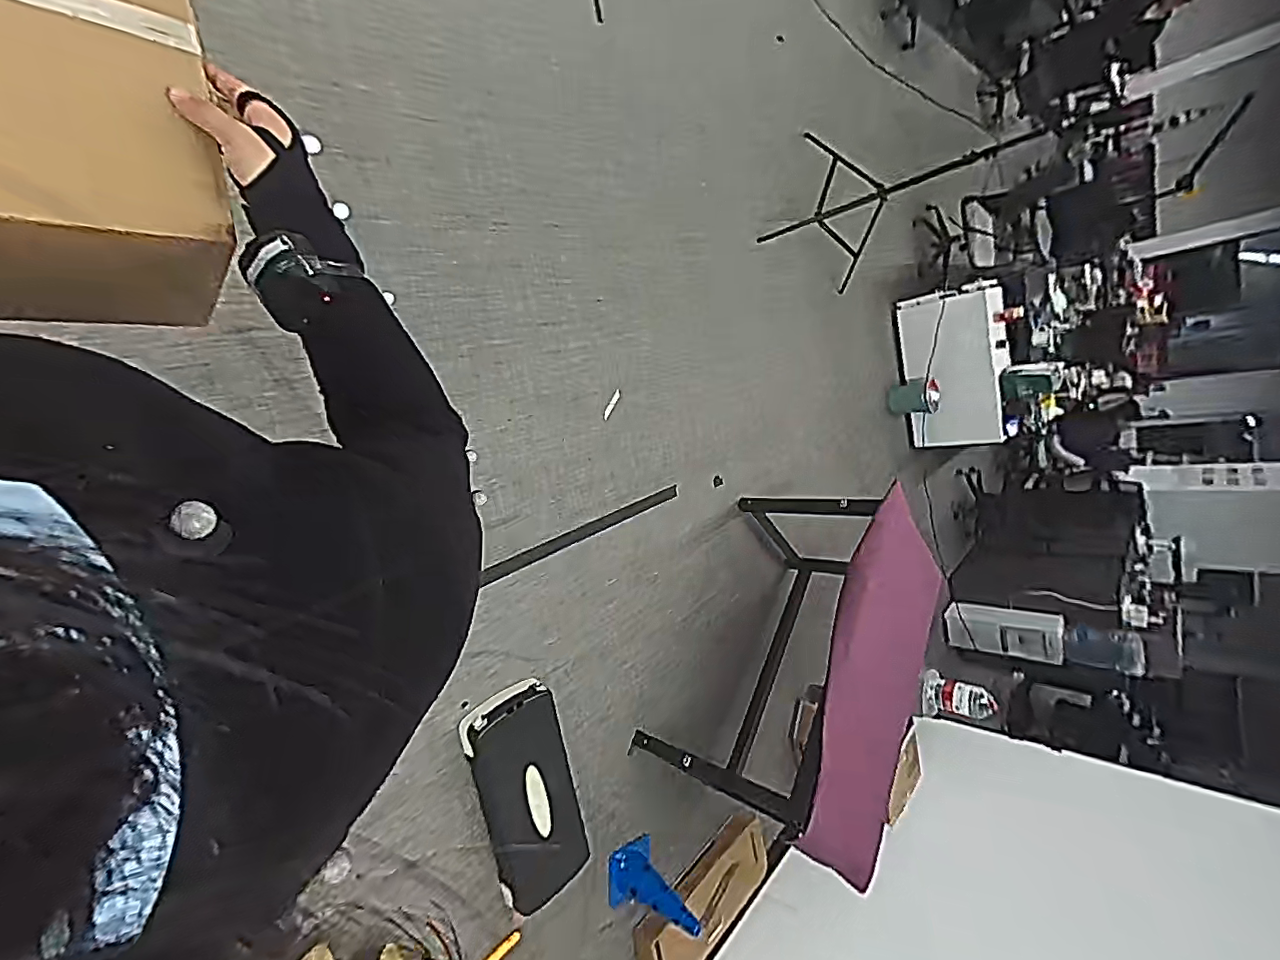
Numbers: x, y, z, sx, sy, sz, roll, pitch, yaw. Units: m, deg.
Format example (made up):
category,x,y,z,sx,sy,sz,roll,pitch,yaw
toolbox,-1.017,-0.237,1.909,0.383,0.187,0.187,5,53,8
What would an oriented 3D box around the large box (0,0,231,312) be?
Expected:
category,x,y,z,sx,sy,sz,roll,pitch,yaw
large box,-0.614,-0.324,0.427,0.408,0.320,0.320,-13,97,-42
